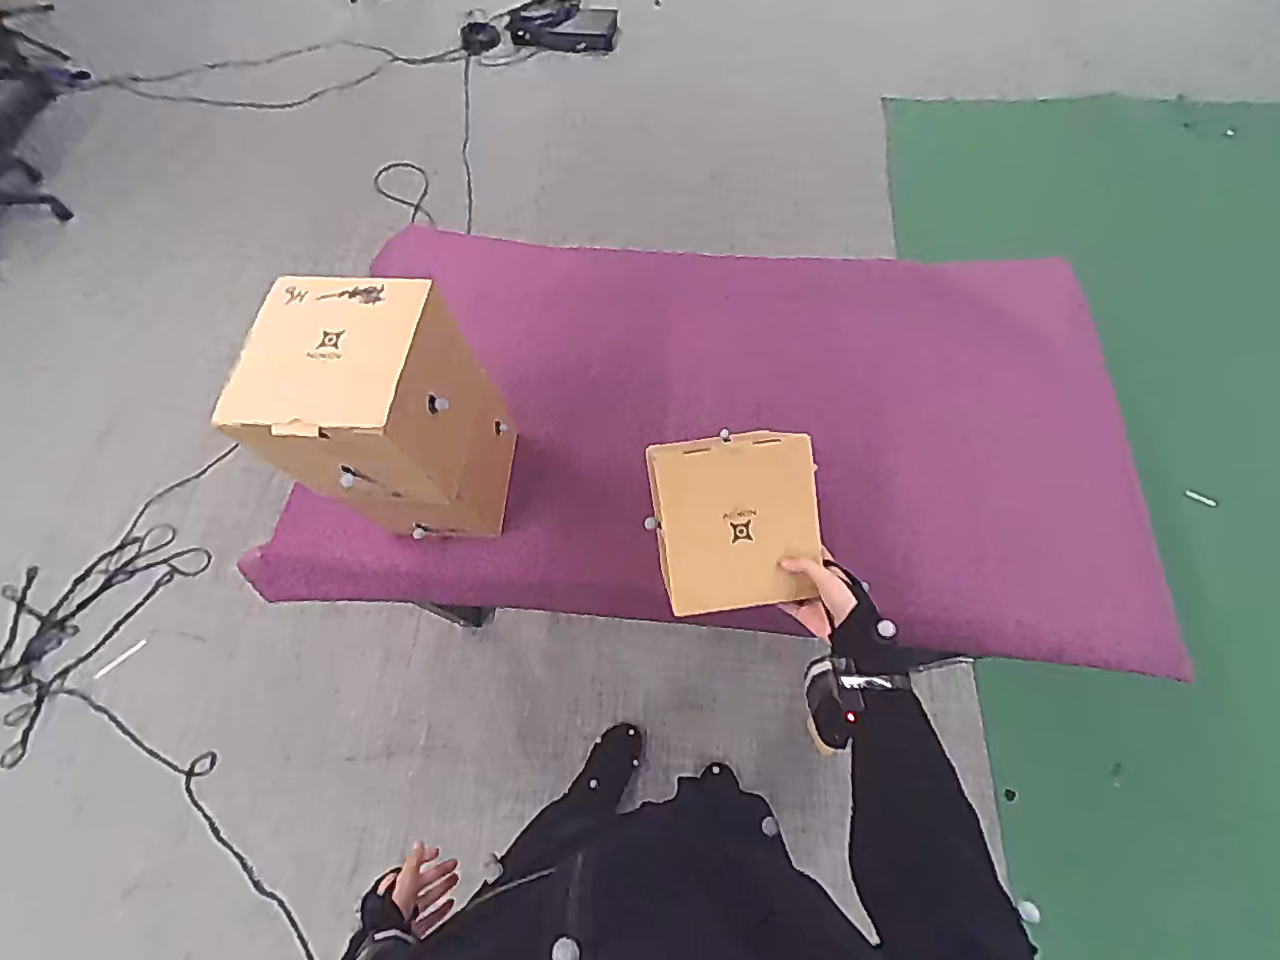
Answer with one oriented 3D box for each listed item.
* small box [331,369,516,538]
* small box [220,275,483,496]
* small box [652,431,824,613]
[{"bbox_3d":[-0.275,-0.034,0.734,0.168,0.176,0.179,2,66,4],"label":"small box"},{"bbox_3d":[-0.284,-0.093,0.581,0.168,0.176,0.179,3,66,5],"label":"small box"},{"bbox_3d":[0.106,0.039,0.646,0.168,0.176,0.179,-8,96,0],"label":"small box"}]
